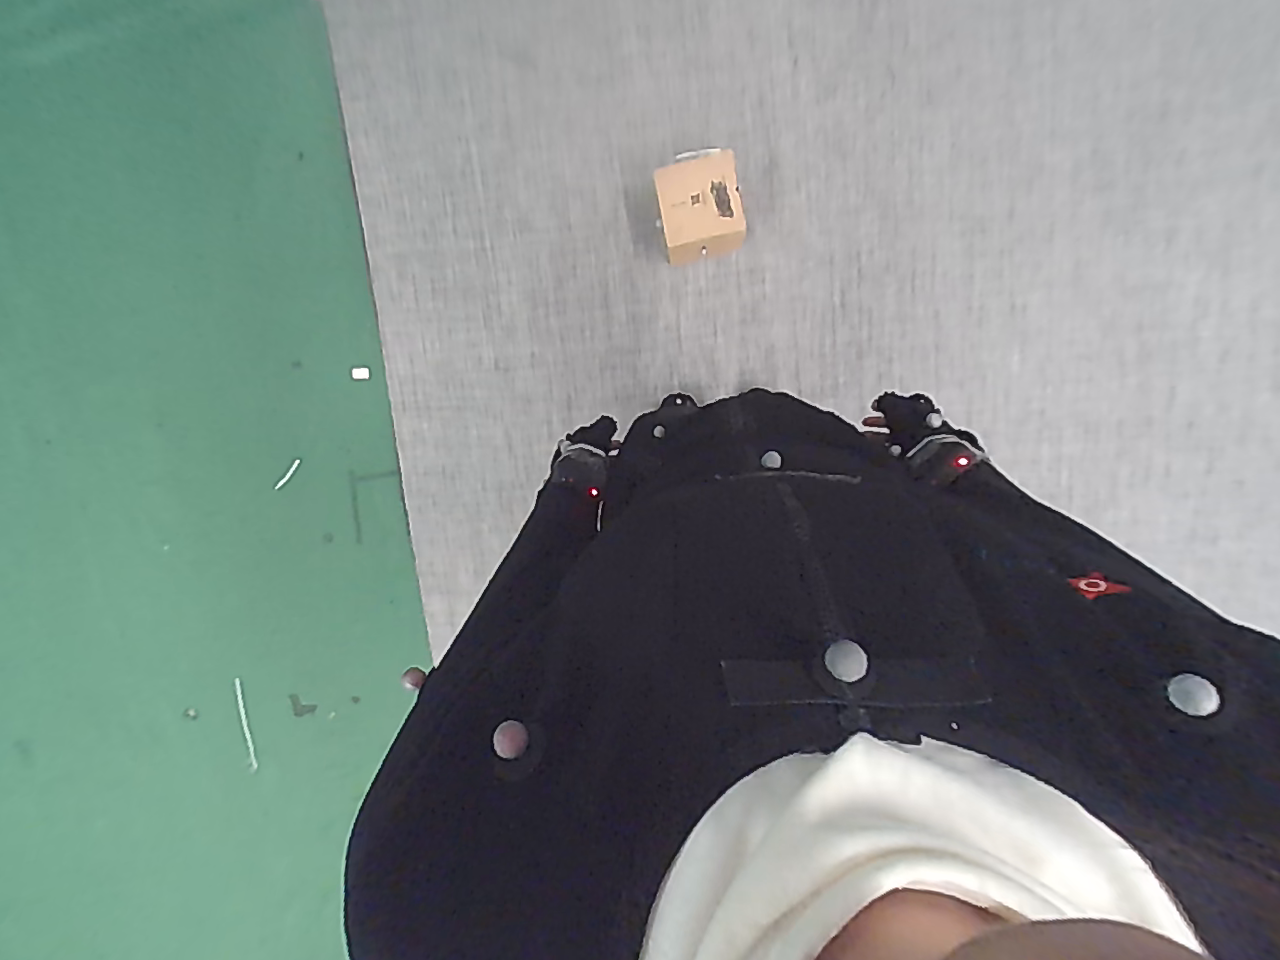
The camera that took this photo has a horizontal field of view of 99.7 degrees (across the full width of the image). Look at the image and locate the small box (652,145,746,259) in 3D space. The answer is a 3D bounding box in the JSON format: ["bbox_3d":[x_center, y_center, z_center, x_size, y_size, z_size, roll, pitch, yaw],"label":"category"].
[{"bbox_3d":[0.133,-0.629,1.245,0.179,0.176,0.168,-14,99,8],"label":"small box"}]
